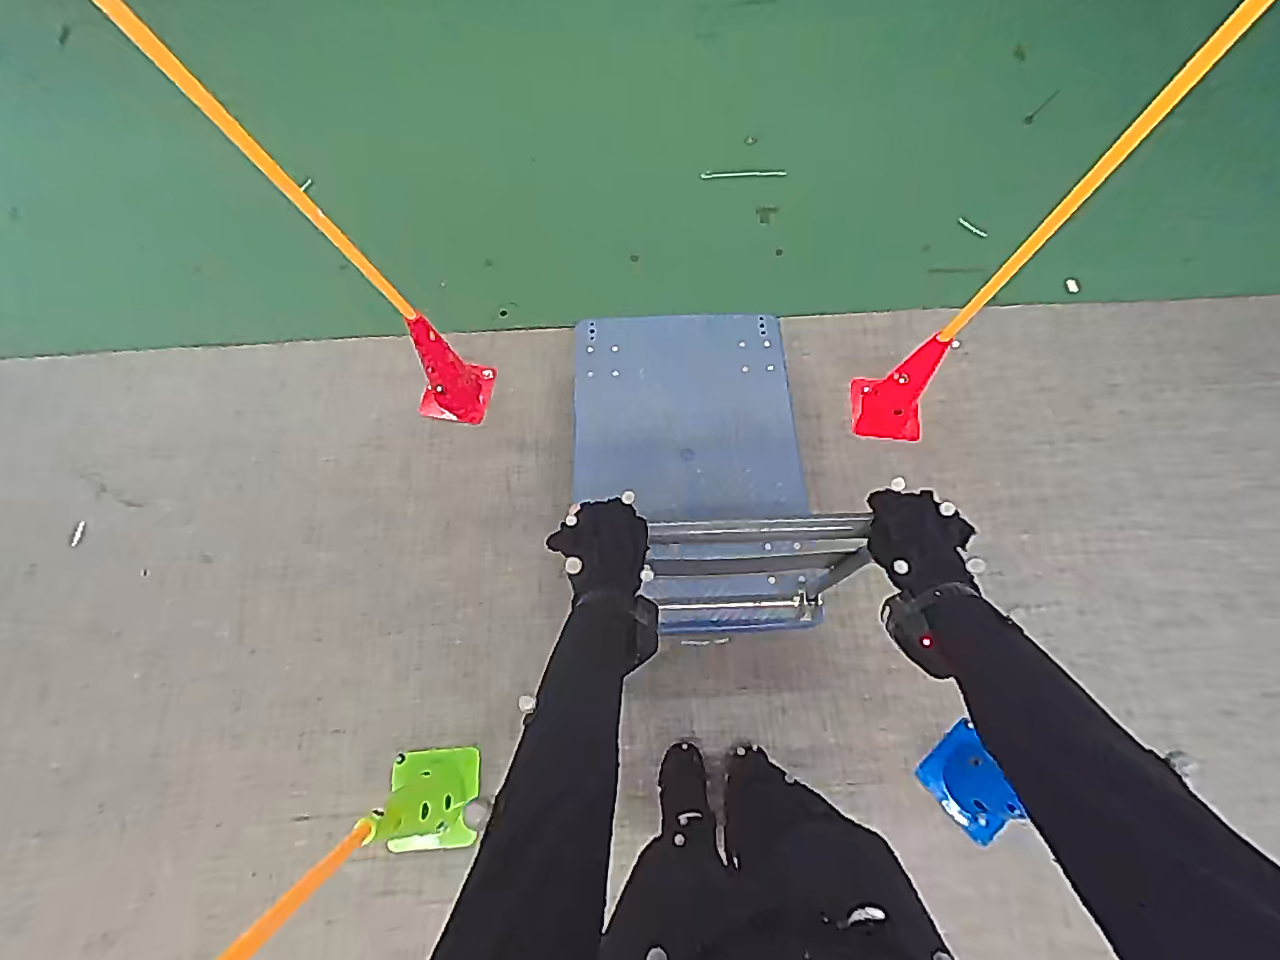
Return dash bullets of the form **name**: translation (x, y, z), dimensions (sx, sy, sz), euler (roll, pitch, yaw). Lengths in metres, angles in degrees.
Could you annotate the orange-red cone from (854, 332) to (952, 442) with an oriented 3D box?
- **orange-red cone**: translation (0.733, -0.272, 1.451), dimensions (0.198, 0.360, 0.199), euler (7, 69, 4)
